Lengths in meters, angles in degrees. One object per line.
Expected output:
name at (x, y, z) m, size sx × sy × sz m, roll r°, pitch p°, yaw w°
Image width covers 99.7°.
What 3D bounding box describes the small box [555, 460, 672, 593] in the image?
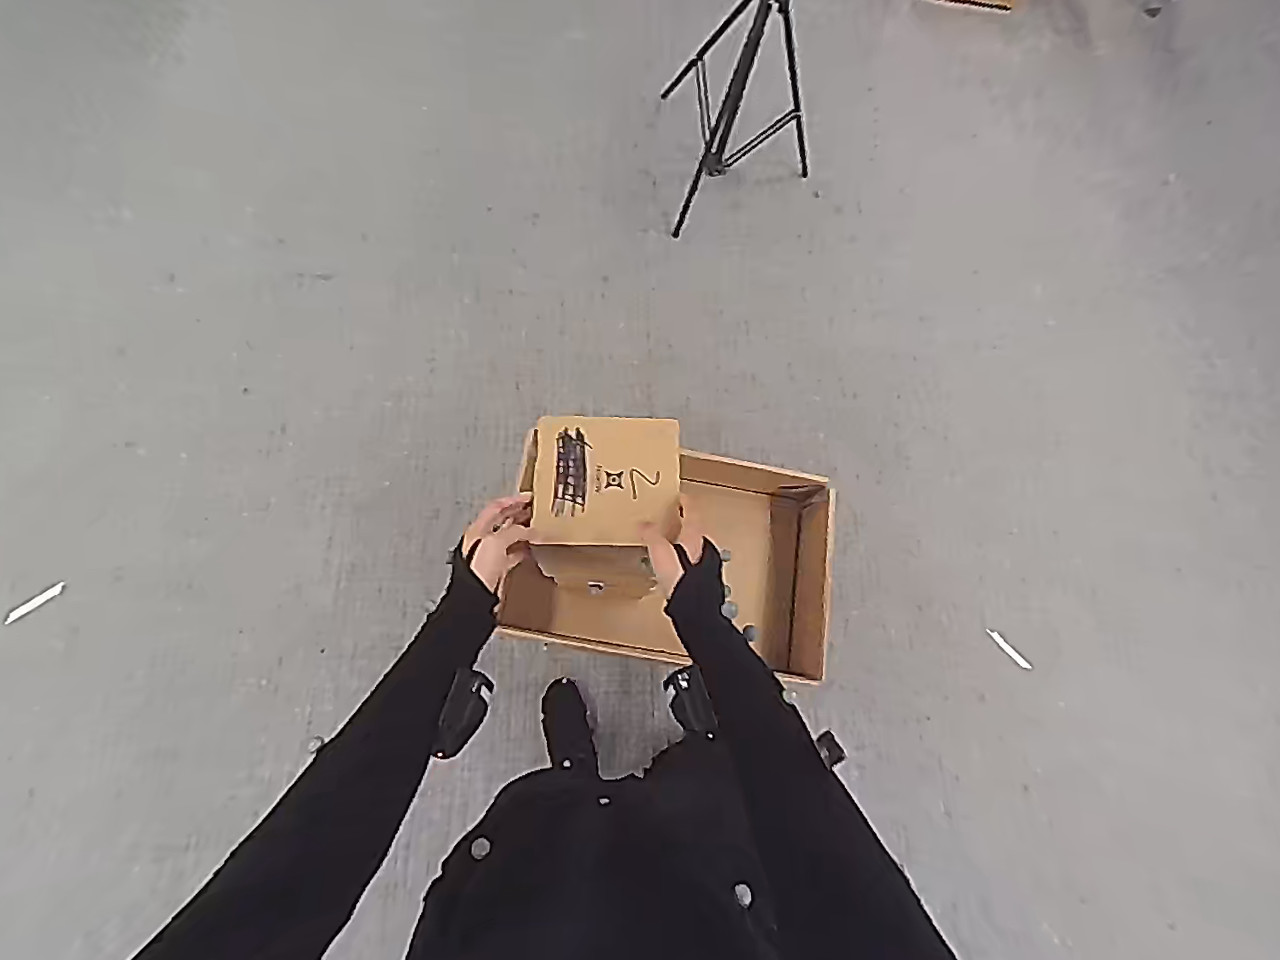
small box at (-0.047, 0.083, 0.883) m, size 0.168 × 0.176 × 0.179 m, roll 5°, pitch 73°, yaw -5°
